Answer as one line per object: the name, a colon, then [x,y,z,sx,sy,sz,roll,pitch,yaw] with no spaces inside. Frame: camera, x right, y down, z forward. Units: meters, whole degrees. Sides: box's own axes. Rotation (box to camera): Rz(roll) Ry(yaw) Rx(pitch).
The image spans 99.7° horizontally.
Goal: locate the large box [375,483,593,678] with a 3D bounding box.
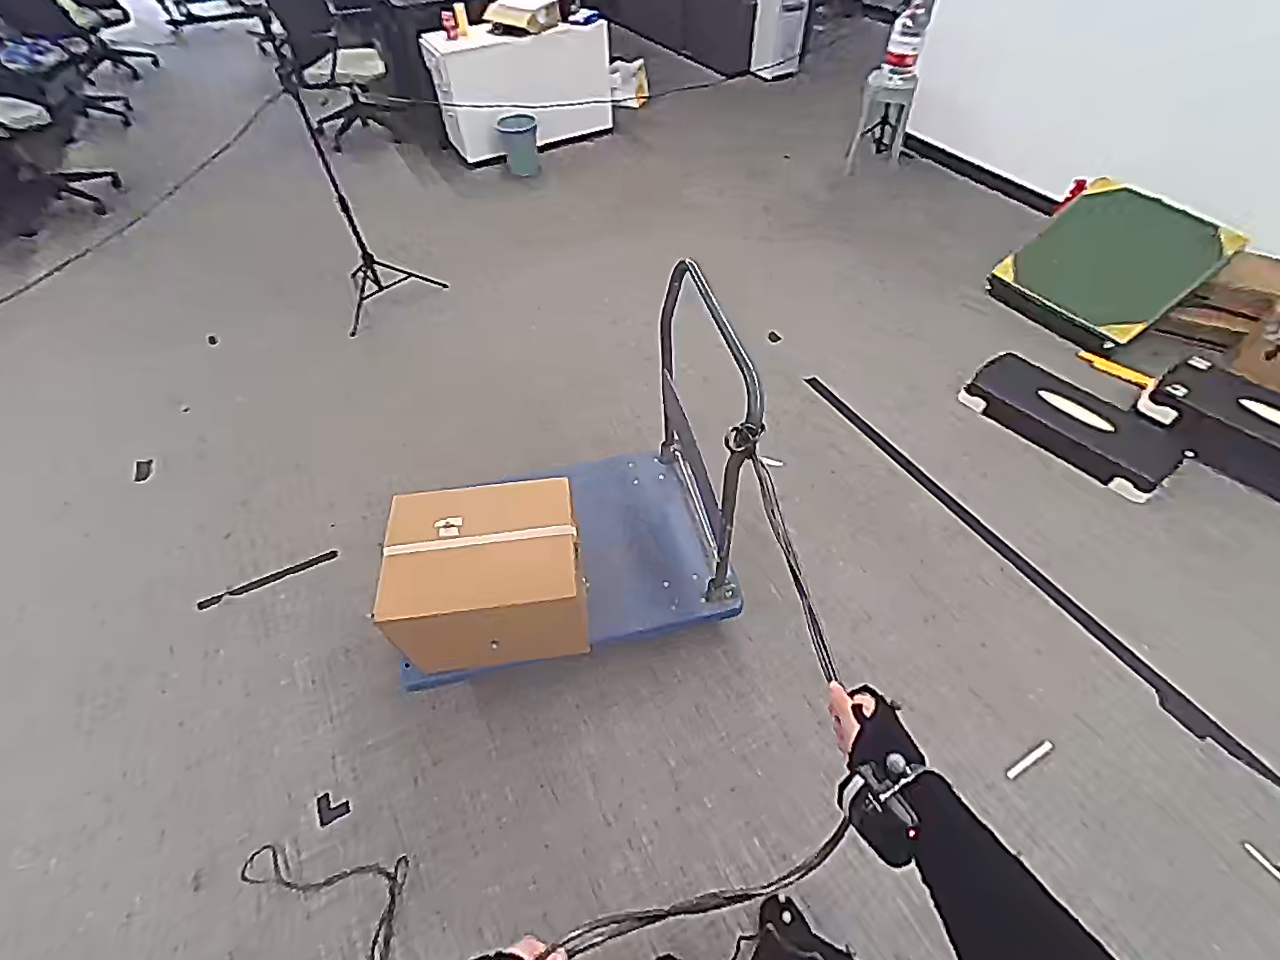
large box: [-0.337,0.241,1.271,0.408,0.320,0.320,-7,51,-3]
